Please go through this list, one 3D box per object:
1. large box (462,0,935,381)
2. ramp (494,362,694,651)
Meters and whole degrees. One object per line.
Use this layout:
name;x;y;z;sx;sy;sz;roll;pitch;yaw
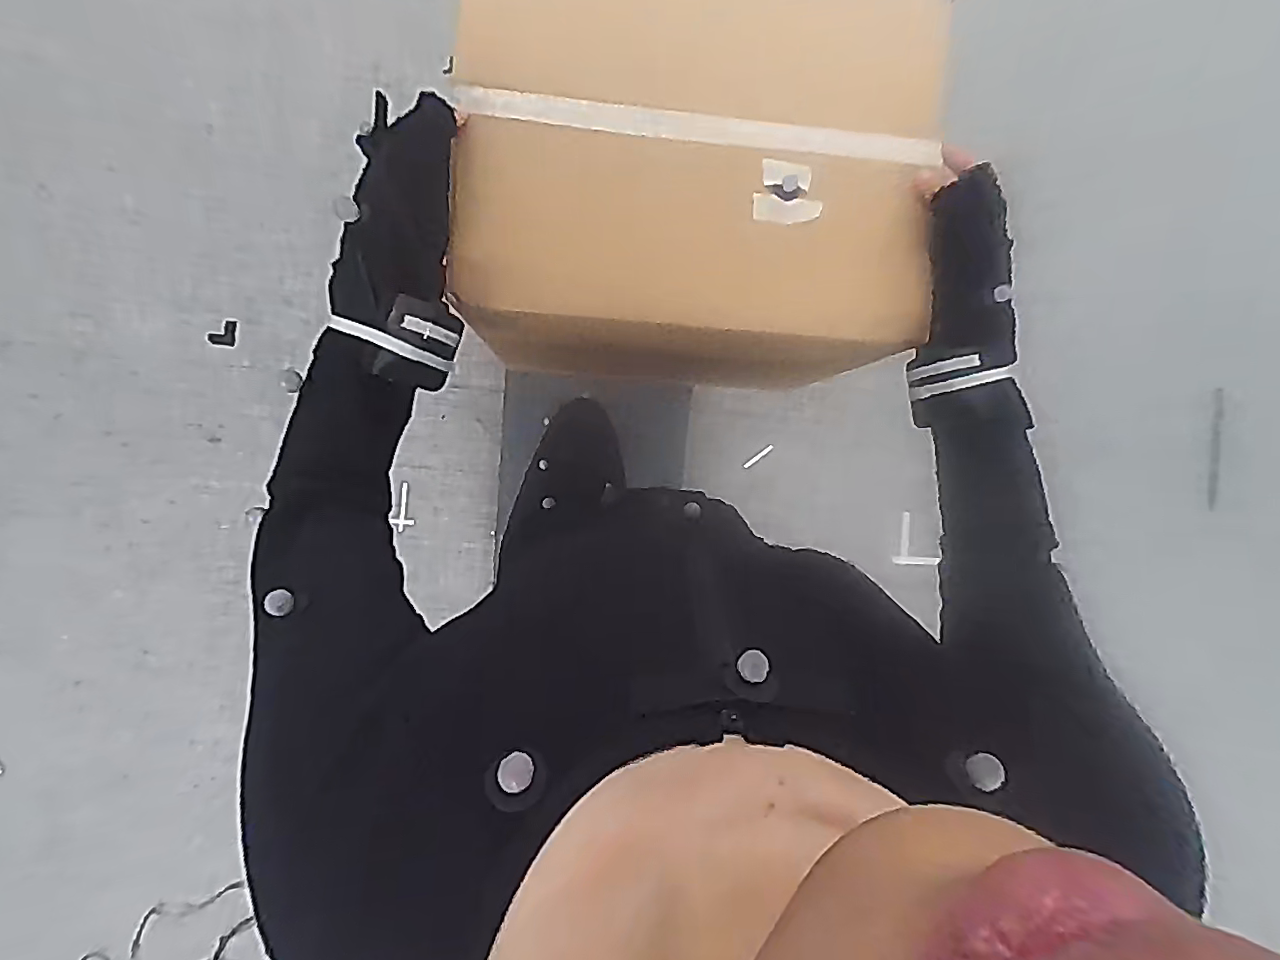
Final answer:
large box;0.039;-0.296;0.603;0.408;0.320;0.320;3;92;-6
ramp;-0.125;-0.008;1.465;0.509;0.206;0.991;3;90;-5
